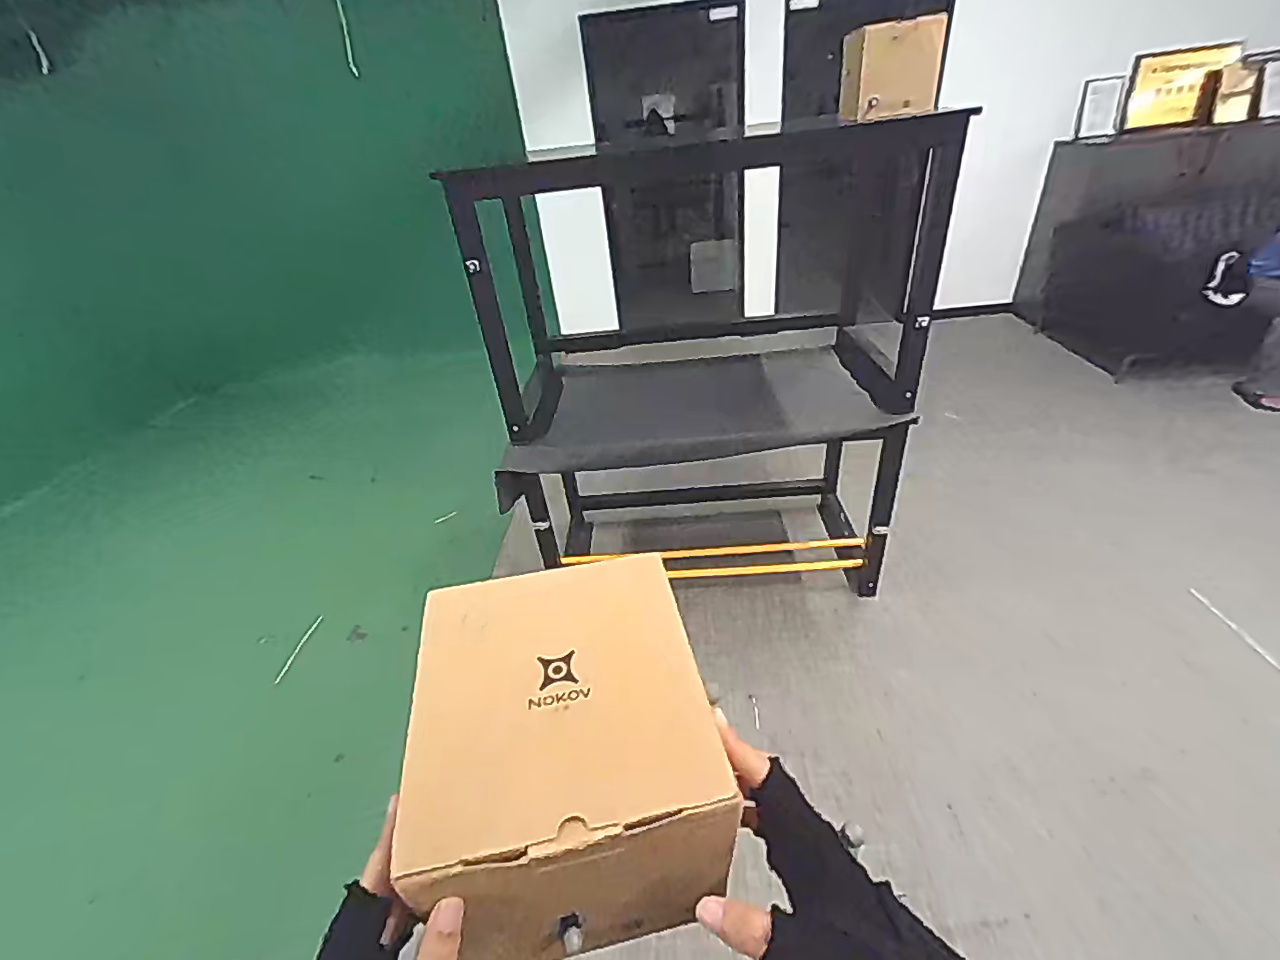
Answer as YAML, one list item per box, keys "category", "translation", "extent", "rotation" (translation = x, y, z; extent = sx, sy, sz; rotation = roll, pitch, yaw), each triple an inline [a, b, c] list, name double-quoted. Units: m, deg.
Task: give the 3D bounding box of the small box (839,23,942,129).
- category: "small box"
  translation: [0.566, -0.919, 1.244]
  extent: [0.168, 0.176, 0.179]
  rotation: [-3, 32, 7]
